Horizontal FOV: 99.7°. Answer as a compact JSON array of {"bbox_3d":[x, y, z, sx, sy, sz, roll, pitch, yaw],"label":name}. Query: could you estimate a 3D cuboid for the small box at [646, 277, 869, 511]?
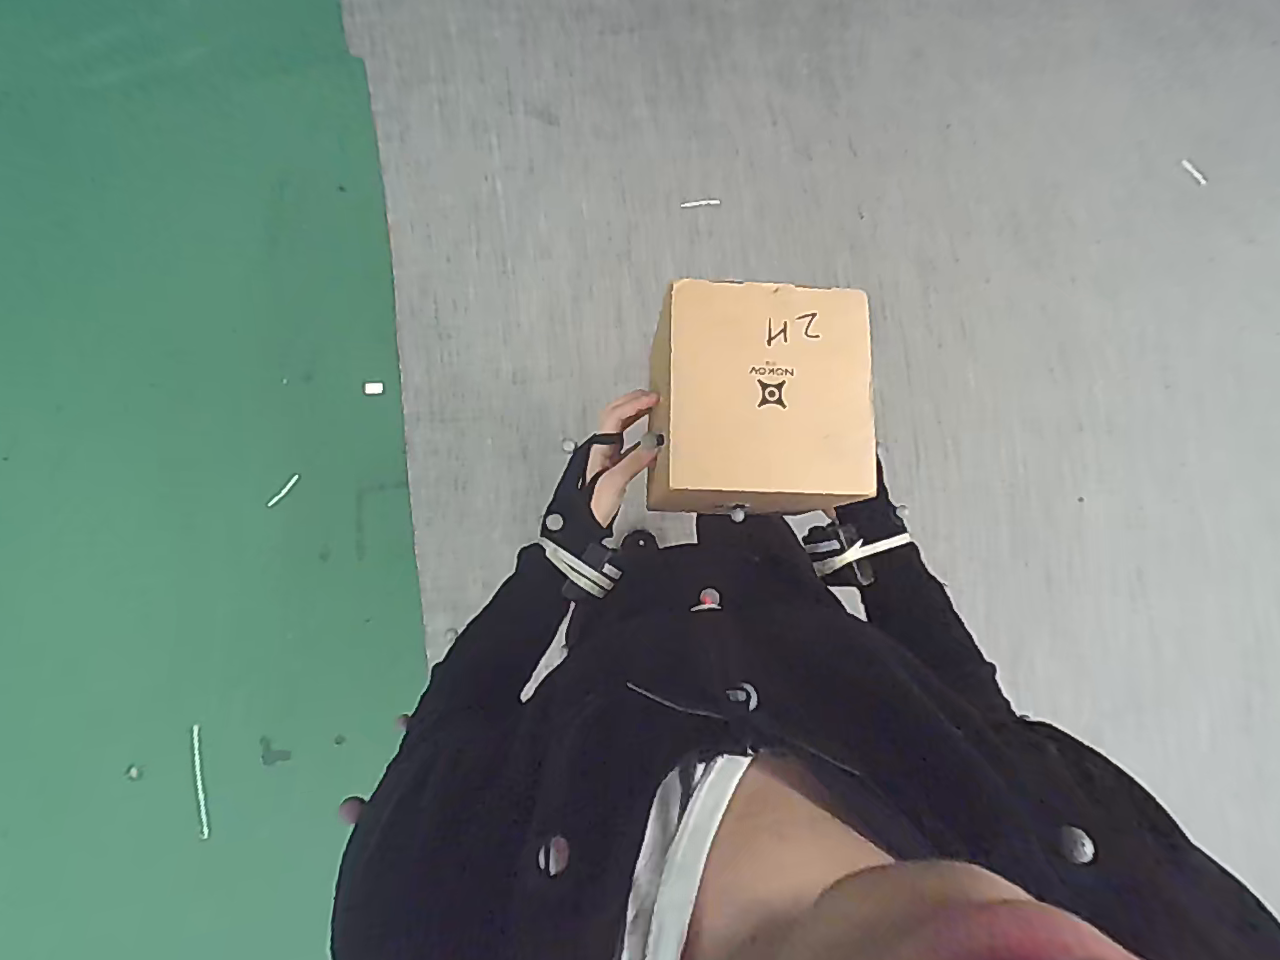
[{"bbox_3d":[0.097,-0.065,0.513,0.168,0.176,0.179,2,80,-5],"label":"small box"}]
